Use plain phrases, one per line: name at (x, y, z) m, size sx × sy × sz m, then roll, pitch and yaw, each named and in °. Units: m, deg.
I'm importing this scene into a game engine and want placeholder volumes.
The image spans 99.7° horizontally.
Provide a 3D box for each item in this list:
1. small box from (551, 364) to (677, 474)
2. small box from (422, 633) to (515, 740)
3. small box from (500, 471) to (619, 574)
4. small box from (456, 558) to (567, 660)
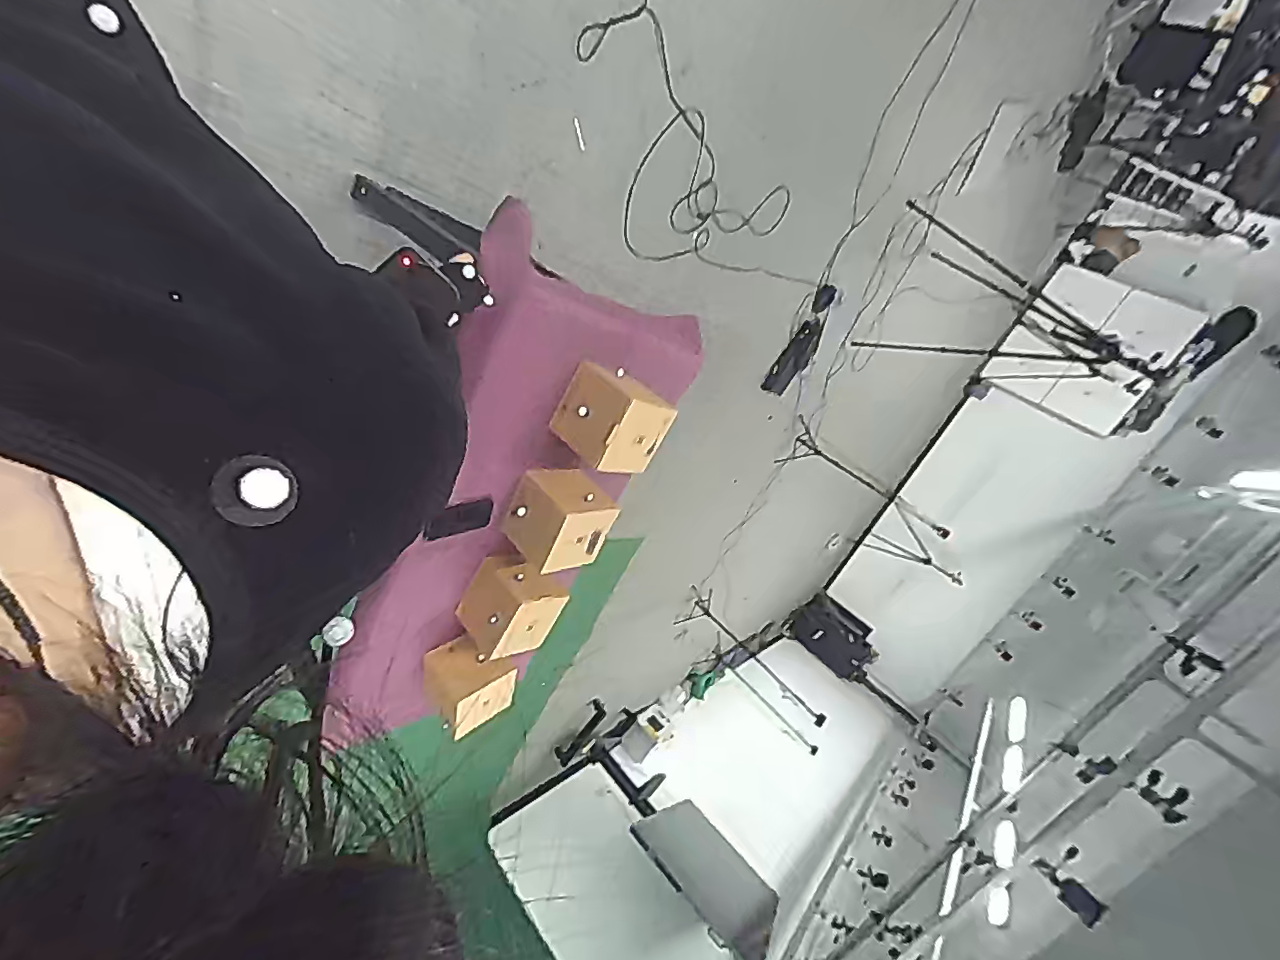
small box at (-0.061, -0.132, 1.169) m, size 0.179 × 0.176 × 0.168 m, roll 5°, pitch 120°, yaw -55°
small box at (-0.446, 0.517, 1.391) m, size 0.168 × 0.176 × 0.179 m, roll -22°, pitch 141°, yaw -42°
small box at (-0.188, 0.090, 1.251) m, size 0.179 × 0.176 × 0.168 m, roll -2°, pitch 126°, yaw -52°
small box at (-0.318, 0.304, 1.321) m, size 0.168 × 0.176 × 0.179 m, roll 9°, pitch 117°, yaw -56°
